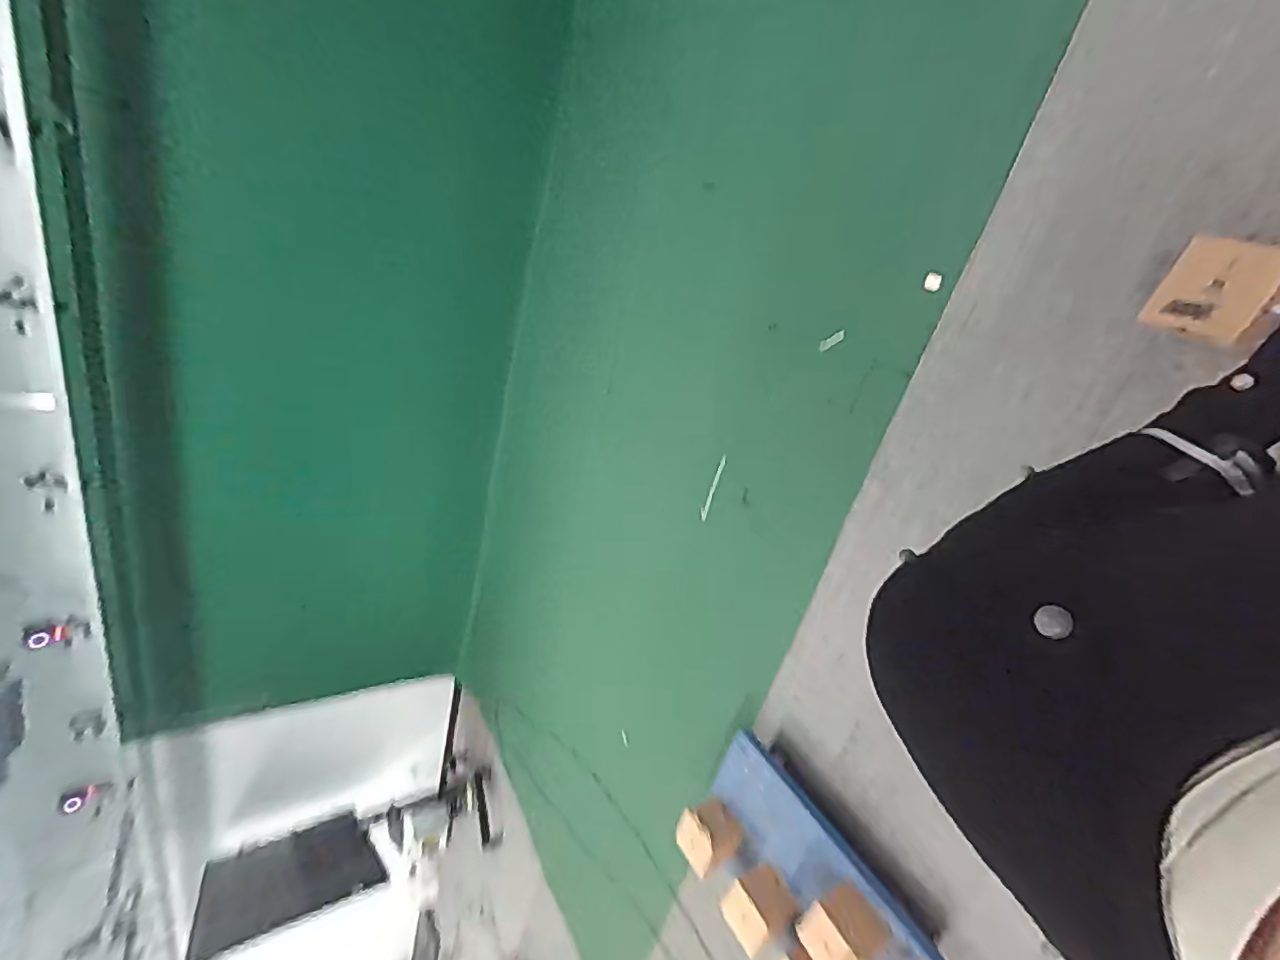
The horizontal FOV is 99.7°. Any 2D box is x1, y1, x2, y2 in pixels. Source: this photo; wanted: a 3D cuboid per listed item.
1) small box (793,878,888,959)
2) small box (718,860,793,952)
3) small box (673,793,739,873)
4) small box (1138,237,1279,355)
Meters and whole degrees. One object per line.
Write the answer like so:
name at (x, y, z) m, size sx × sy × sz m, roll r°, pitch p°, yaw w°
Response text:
small box at (0.609, 1.366, 1.639) m, size 0.179 × 0.176 × 0.168 m, roll 45°, pitch 125°, yaw 44°
small box at (0.412, 1.502, 1.915) m, size 0.168 × 0.176 × 0.179 m, roll 42°, pitch 122°, yaw 46°
small box at (0.260, 1.376, 2.115) m, size 0.168 × 0.176 × 0.179 m, roll 40°, pitch 122°, yaw 45°
small box at (1.205, -0.375, 1.120) m, size 0.168 × 0.176 × 0.179 m, roll 47°, pitch 126°, yaw 42°
